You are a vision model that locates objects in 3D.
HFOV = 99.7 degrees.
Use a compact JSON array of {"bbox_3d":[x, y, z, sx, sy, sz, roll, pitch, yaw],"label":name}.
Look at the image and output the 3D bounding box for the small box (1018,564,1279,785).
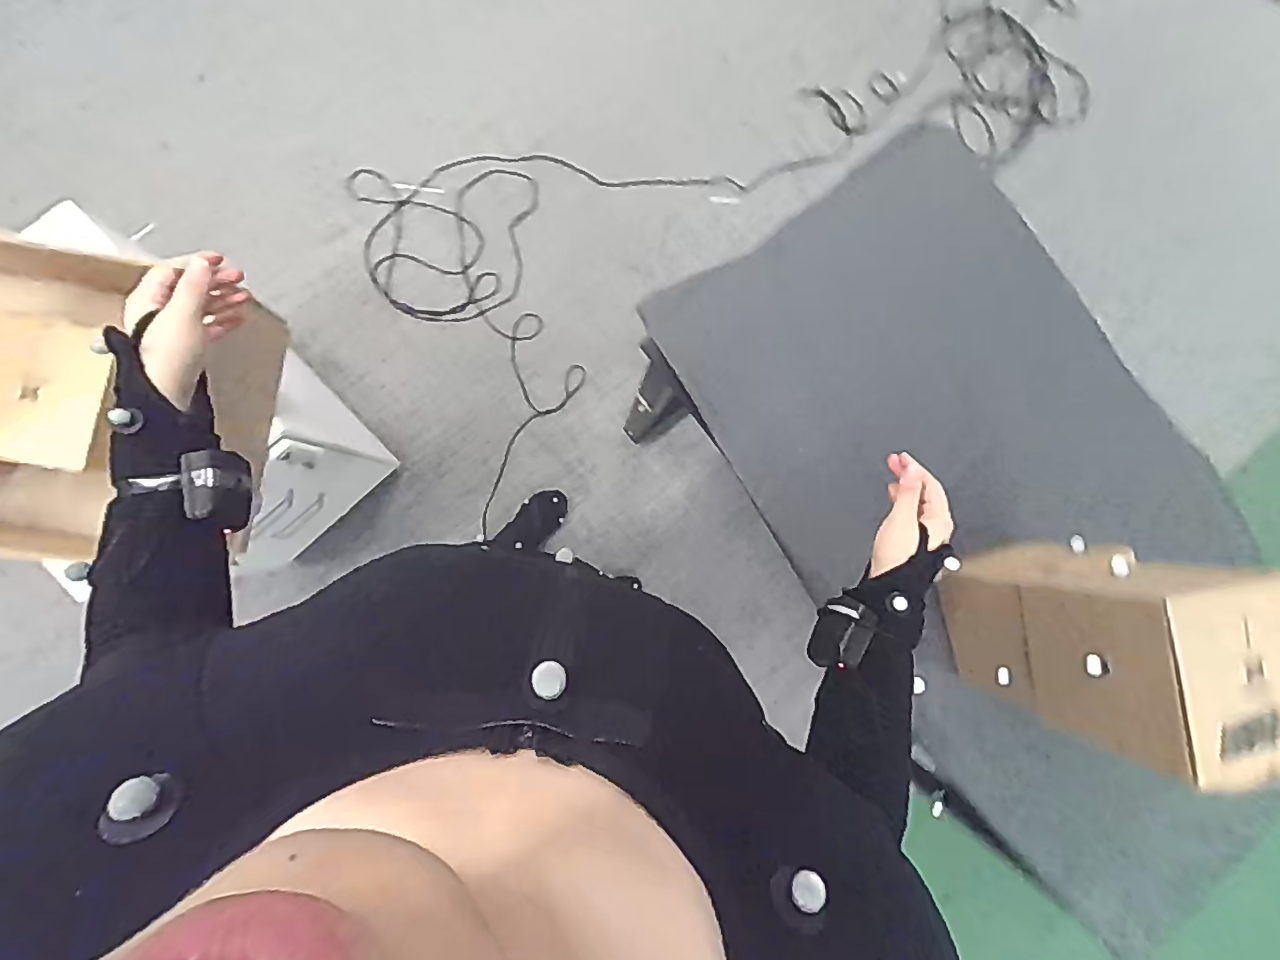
[{"bbox_3d":[0.554,0.192,0.584,0.168,0.176,0.179,-5,86,-7],"label":"small box"}]
